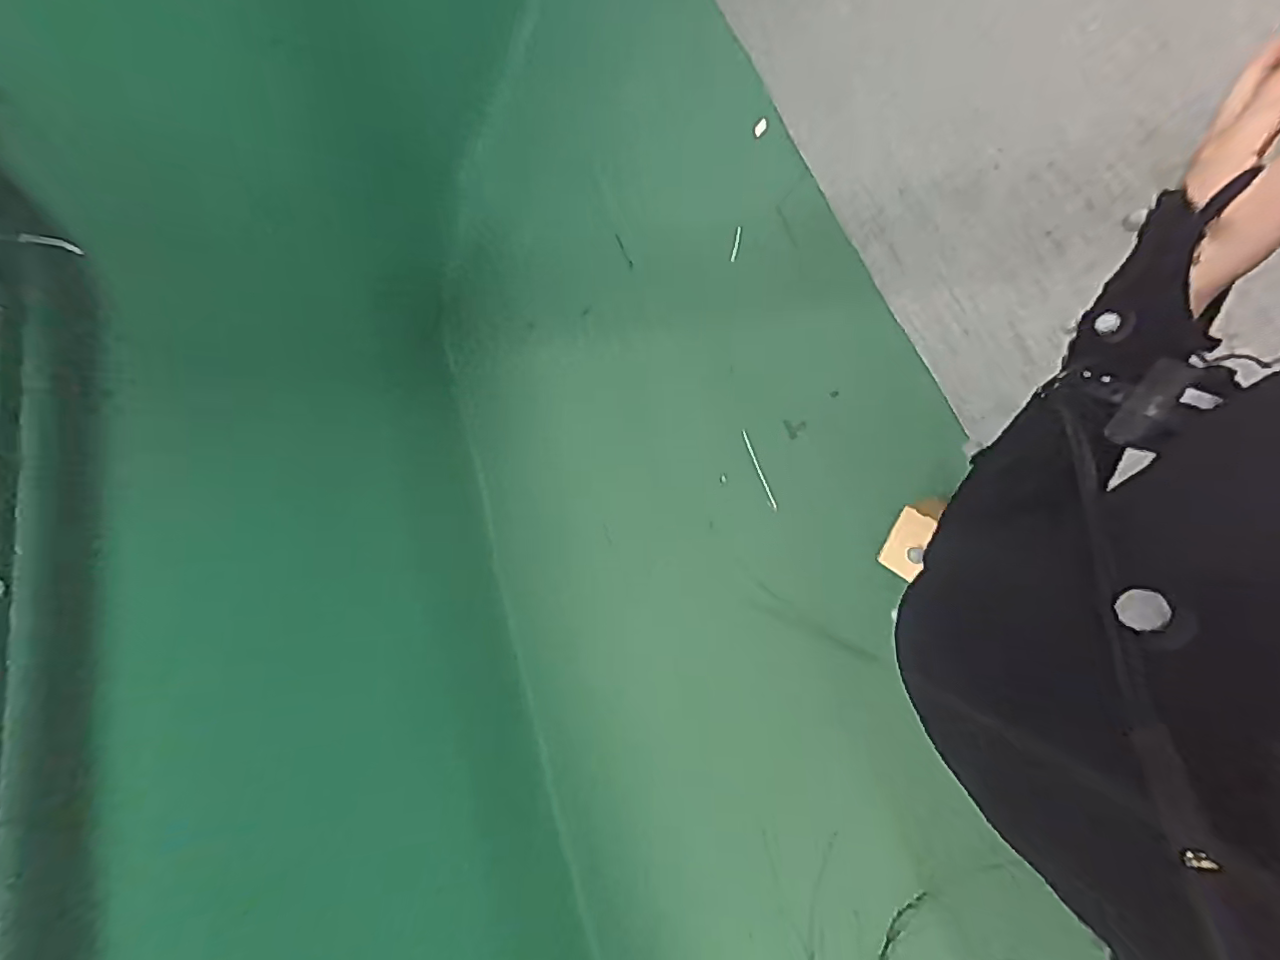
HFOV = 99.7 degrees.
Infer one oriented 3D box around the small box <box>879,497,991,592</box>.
[{"bbox_3d":[0.768,0.161,1.405,0.168,0.176,0.179,40,123,43],"label":"small box"}]
